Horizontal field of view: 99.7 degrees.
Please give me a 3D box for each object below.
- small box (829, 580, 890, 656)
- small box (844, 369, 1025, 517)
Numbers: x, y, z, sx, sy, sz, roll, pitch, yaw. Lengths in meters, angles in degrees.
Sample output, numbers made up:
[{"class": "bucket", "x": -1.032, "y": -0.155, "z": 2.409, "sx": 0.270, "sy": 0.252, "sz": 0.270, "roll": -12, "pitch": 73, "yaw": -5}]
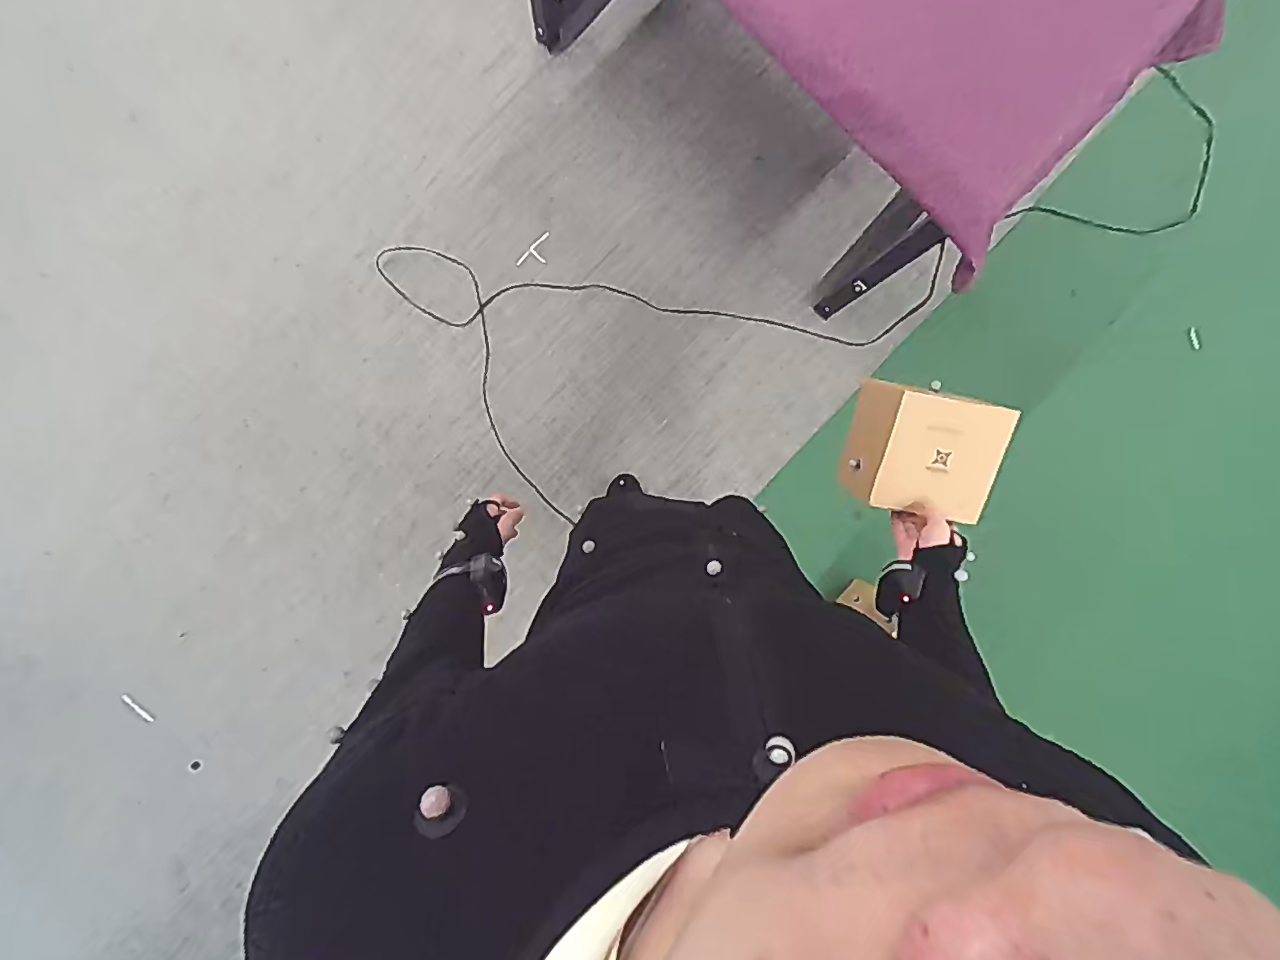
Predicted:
[{"class": "small box", "x": 0.696, "y": 0.415, "z": 1.598, "sx": 0.179, "sy": 0.176, "sz": 0.168, "roll": 42, "pitch": 88, "yaw": -5}, {"class": "small box", "x": 0.433, "y": -0.065, "z": 0.833, "sx": 0.168, "sy": 0.176, "sz": 0.179, "roll": 10, "pitch": 107, "yaw": 1}]
